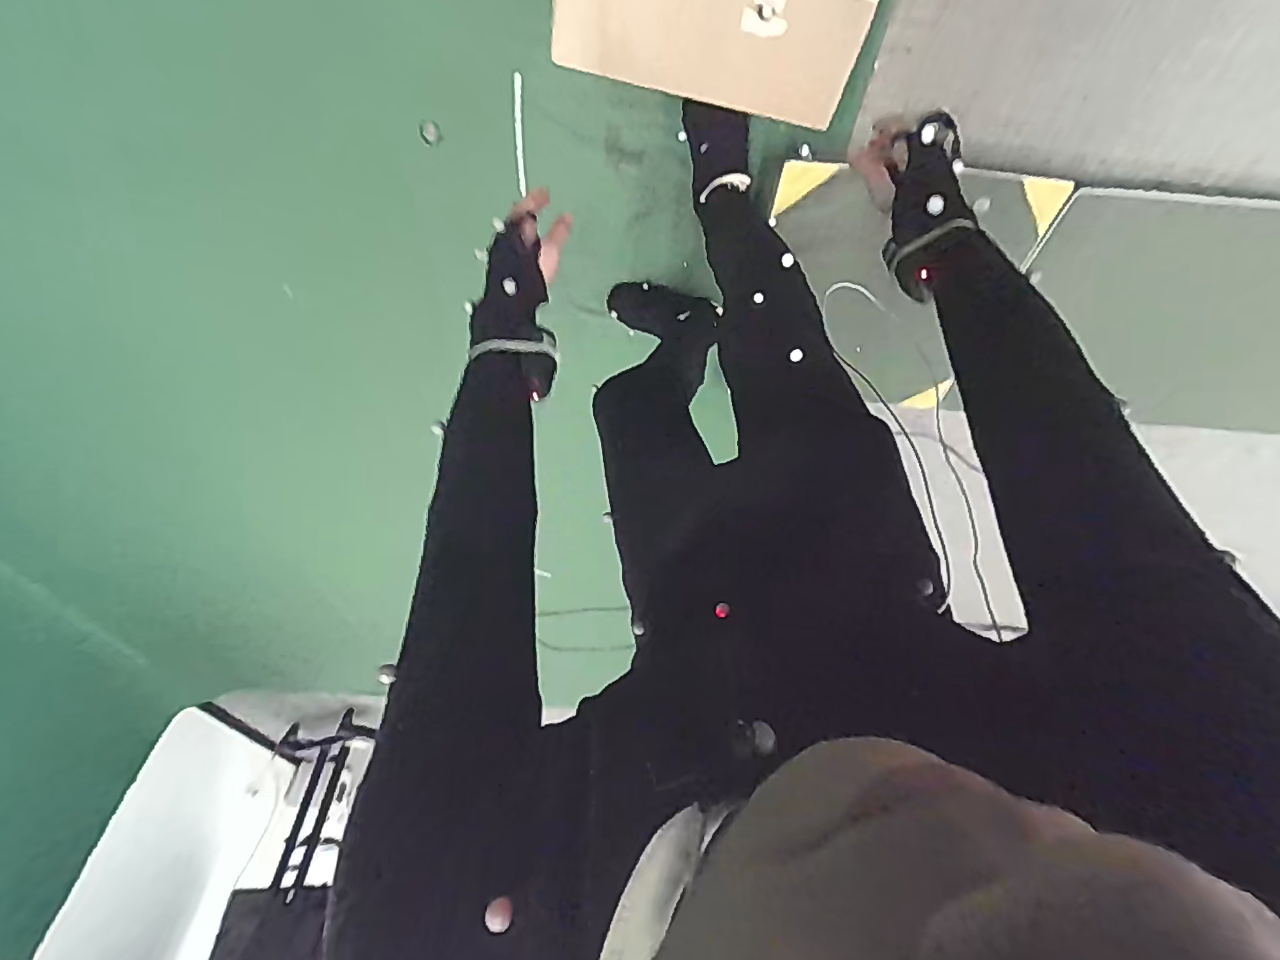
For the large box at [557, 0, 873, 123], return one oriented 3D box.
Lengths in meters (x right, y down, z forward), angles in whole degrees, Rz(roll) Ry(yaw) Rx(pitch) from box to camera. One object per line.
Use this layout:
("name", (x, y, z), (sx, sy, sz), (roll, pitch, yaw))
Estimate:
("large box", (0.105, -0.756, 0.756), (0.408, 0.320, 0.320), (8, 139, -8))
